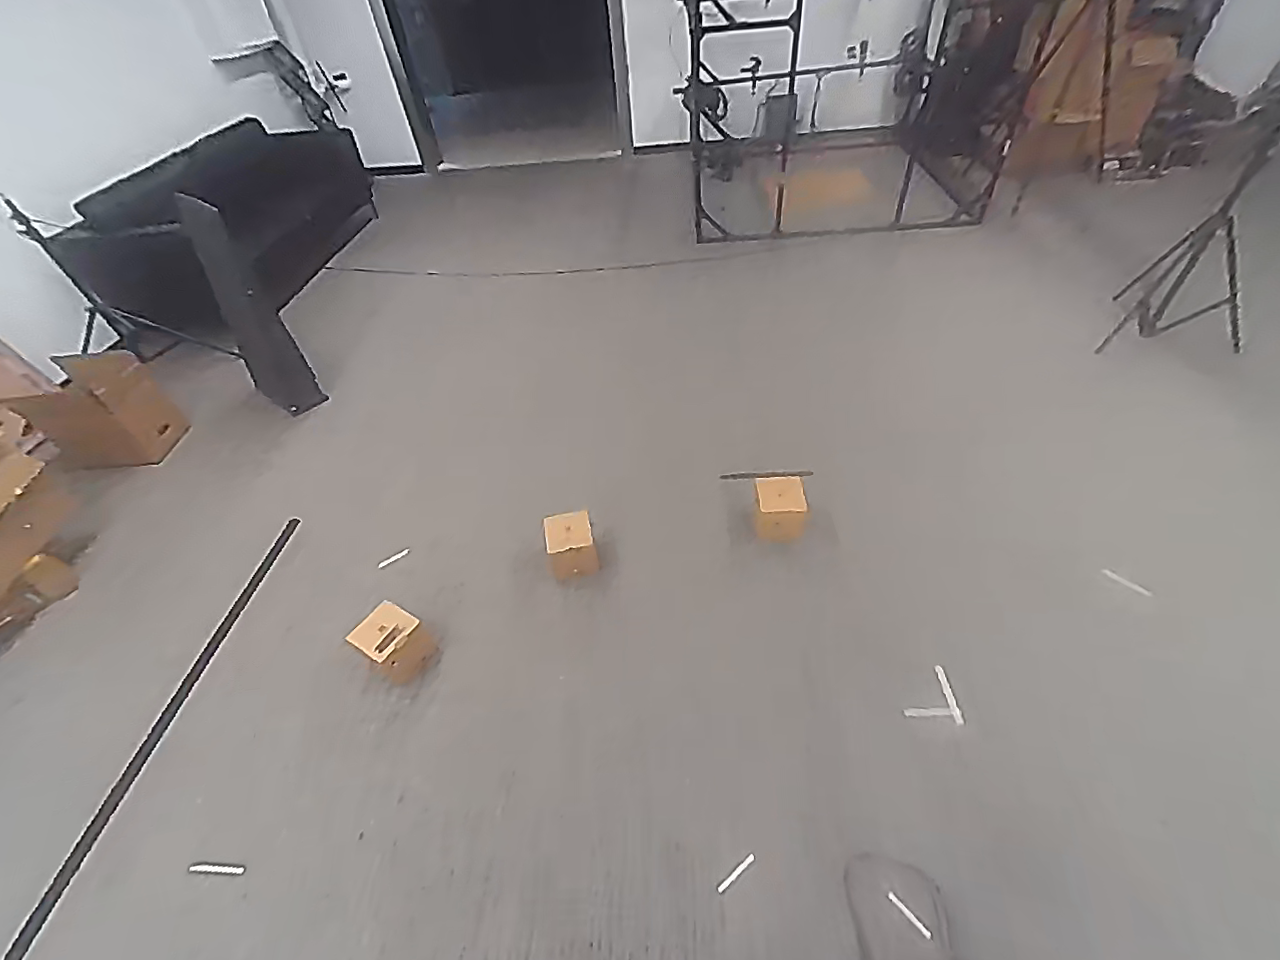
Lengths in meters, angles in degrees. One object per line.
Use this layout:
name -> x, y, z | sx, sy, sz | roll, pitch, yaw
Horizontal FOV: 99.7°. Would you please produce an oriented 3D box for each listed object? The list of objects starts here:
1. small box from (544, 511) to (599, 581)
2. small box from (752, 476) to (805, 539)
small box -> -0.253, 0.246, 1.999 | 0.168, 0.176, 0.179 | -12, 45, -5
small box -> 0.520, 0.110, 2.040 | 0.168, 0.176, 0.179 | -3, 44, 4
